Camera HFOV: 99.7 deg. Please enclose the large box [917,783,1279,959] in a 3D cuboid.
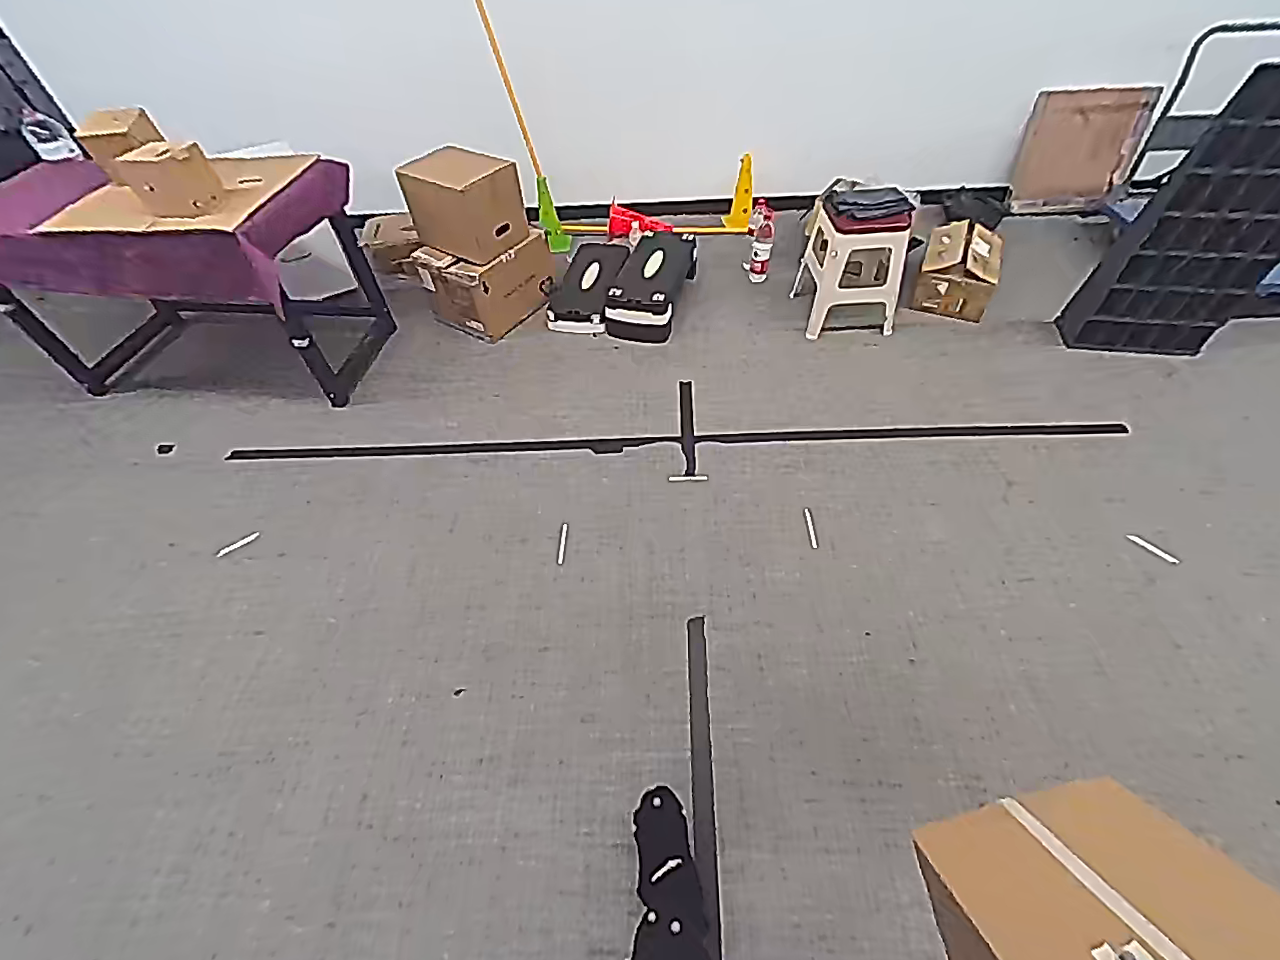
[{"bbox_3d":[0.607,0.652,0.634,0.320,0.408,0.320,-18,92,2],"label":"large box"}]
